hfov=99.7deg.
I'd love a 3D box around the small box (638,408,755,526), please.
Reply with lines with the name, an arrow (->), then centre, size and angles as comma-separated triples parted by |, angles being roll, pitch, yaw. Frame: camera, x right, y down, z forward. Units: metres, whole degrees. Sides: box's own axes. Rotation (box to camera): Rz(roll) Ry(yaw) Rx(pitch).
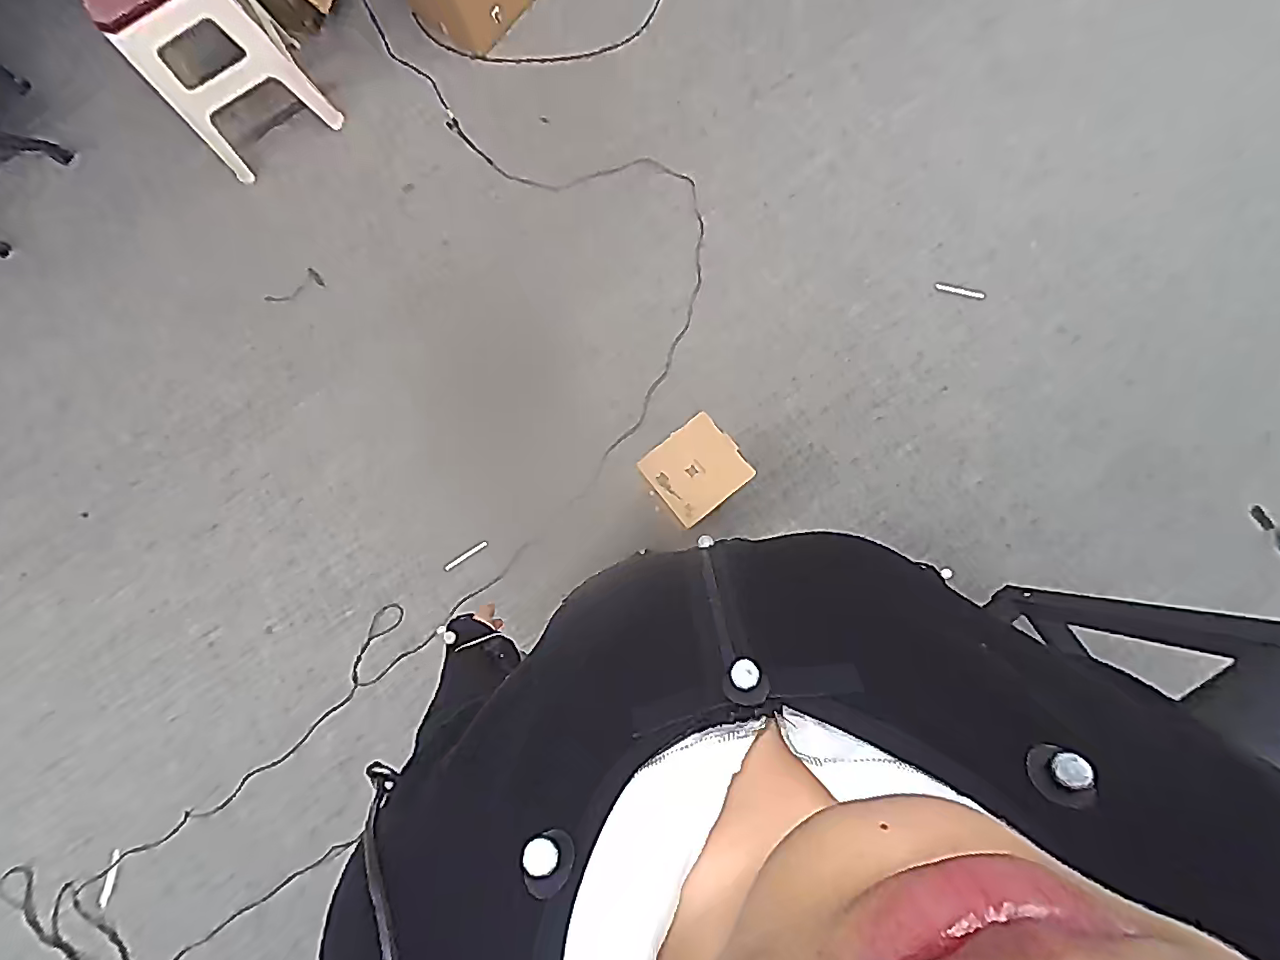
small box -> 0.111, -0.019, 1.132 | 0.179, 0.176, 0.168 | -39, 83, -3
